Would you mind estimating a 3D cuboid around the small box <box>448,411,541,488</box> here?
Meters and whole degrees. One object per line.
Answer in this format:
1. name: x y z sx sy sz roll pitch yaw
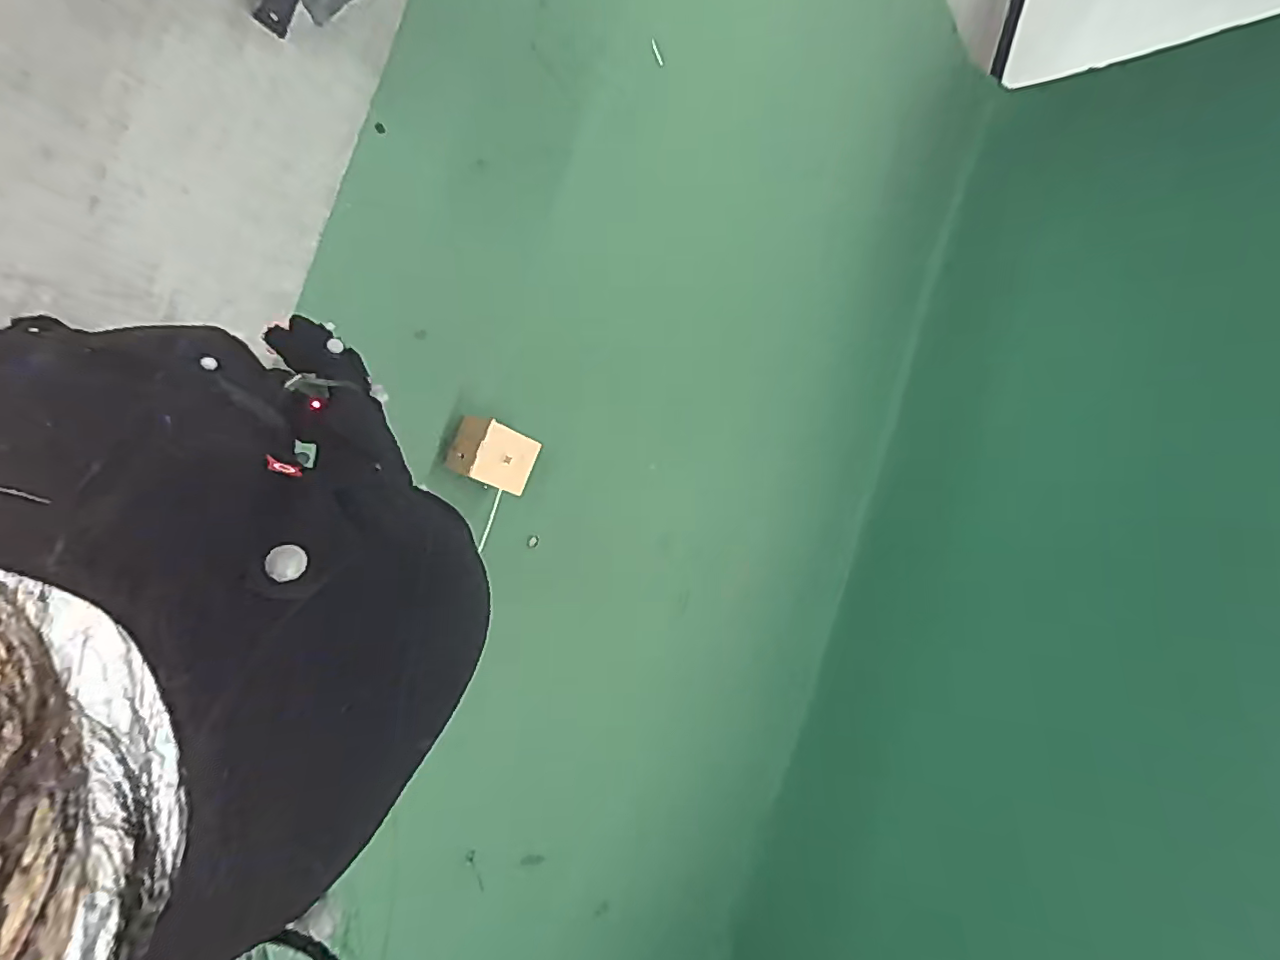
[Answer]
1. small box: -0.423 -0.091 1.558 0.179 0.176 0.168 27 83 -42
